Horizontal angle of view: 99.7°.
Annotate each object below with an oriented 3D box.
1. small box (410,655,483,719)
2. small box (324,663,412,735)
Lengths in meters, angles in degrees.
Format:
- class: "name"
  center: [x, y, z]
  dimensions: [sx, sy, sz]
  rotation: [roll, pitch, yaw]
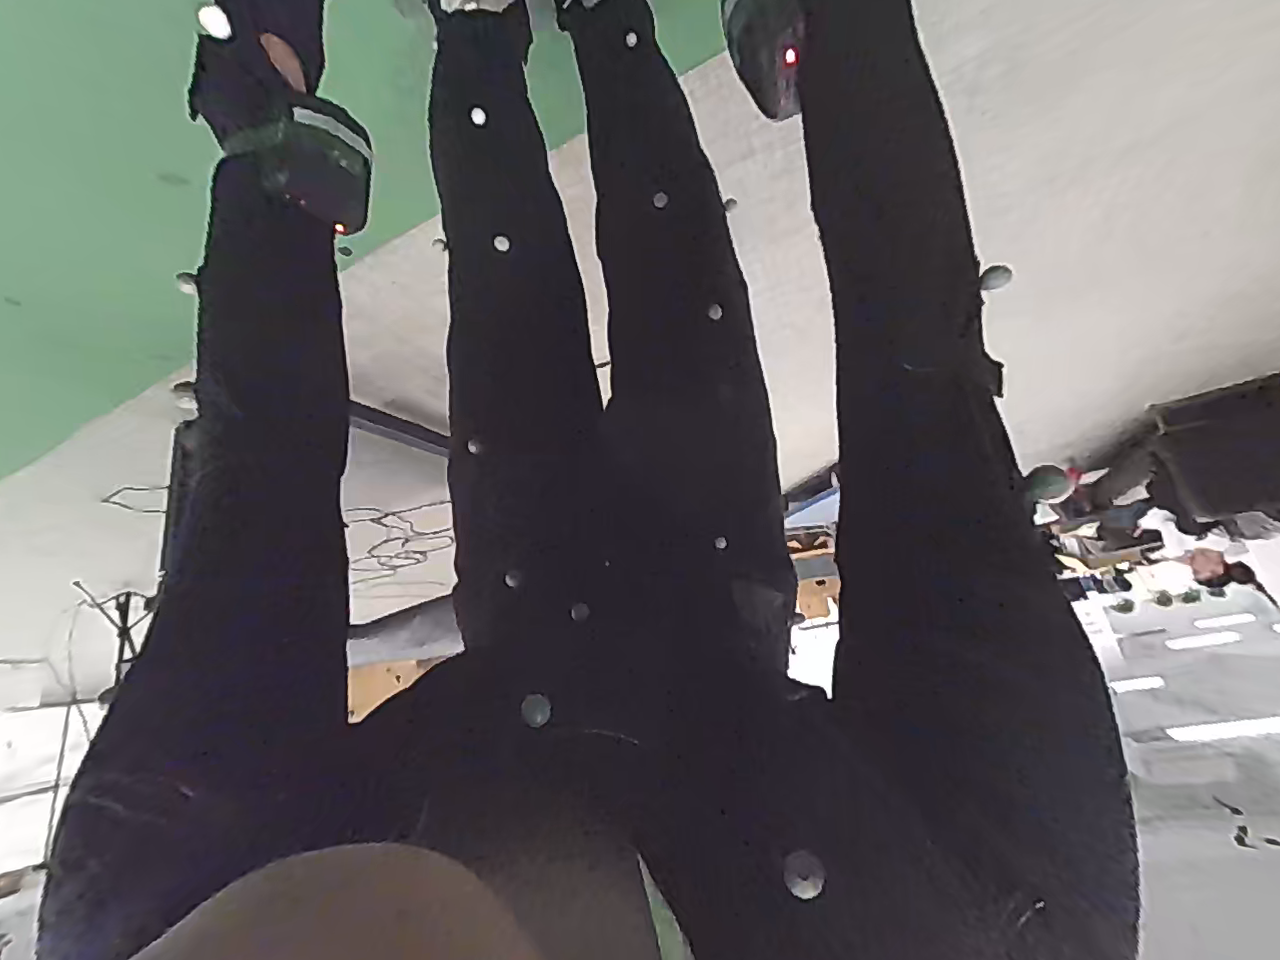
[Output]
- class: "small box"
  center: [-0.669, 0.706, 1.858]
  dimensions: [0.168, 0.176, 0.179]
  rotation: [-18, 160, 19]
- class: "small box"
  center: [-0.806, 0.645, 1.610]
  dimensions: [0.179, 0.176, 0.168]
  rotation: [-19, 160, 21]
